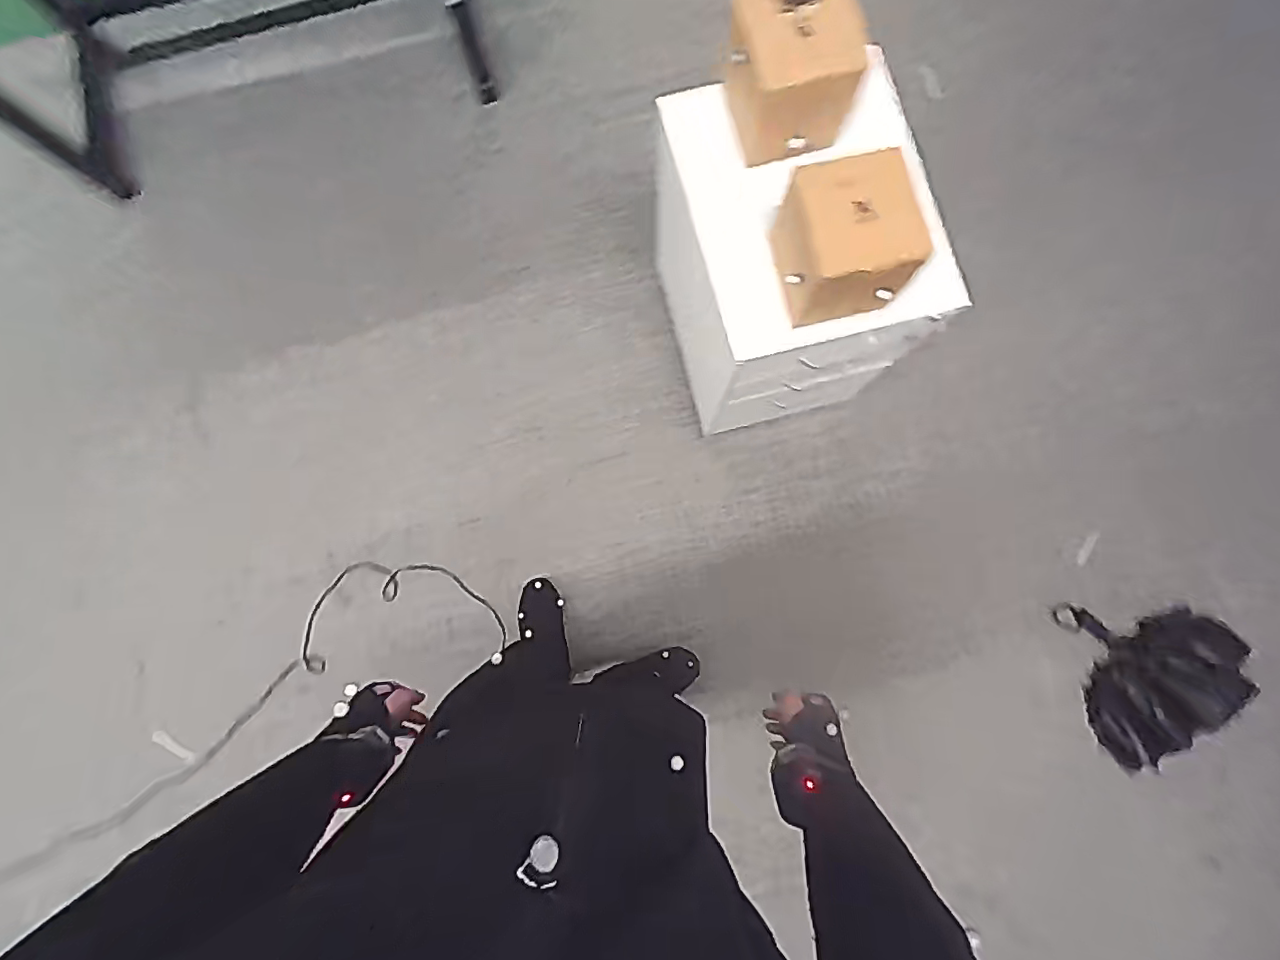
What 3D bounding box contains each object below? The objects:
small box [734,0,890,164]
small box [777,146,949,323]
[{"bbox_3d":[0.257,-0.645,0.854,0.168,0.176,0.179,-13,85,-1],"label":"small box"},{"bbox_3d":[0.322,-0.355,0.819,0.168,0.176,0.179,-12,81,-2],"label":"small box"}]
